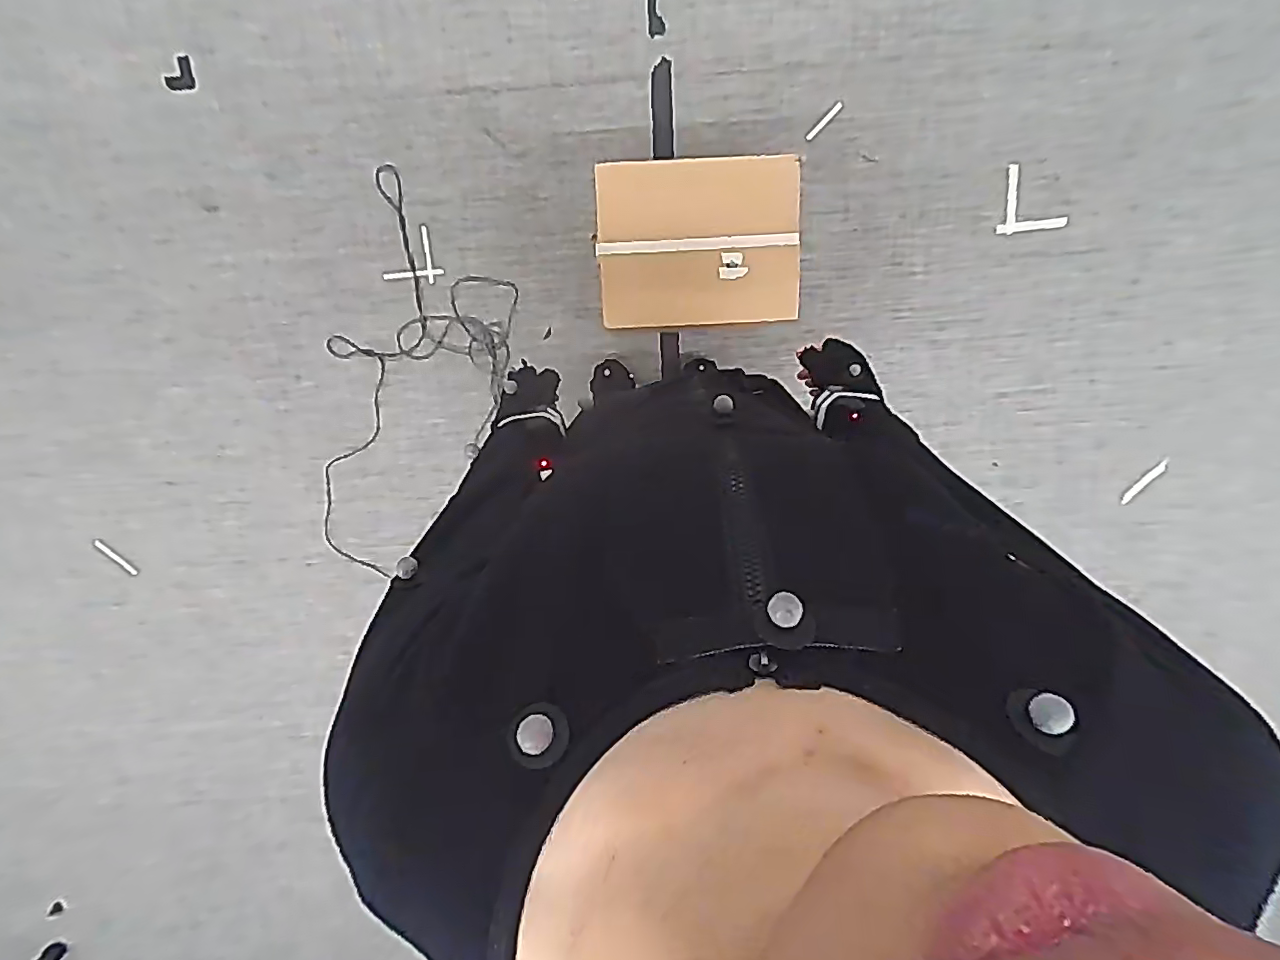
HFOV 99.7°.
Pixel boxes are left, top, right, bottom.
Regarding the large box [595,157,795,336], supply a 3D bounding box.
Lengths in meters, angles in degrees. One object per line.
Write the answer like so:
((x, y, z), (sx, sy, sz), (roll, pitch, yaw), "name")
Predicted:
((0.115, -0.510, 1.248), (0.408, 0.320, 0.320), (-3, 103, 0), "large box")
